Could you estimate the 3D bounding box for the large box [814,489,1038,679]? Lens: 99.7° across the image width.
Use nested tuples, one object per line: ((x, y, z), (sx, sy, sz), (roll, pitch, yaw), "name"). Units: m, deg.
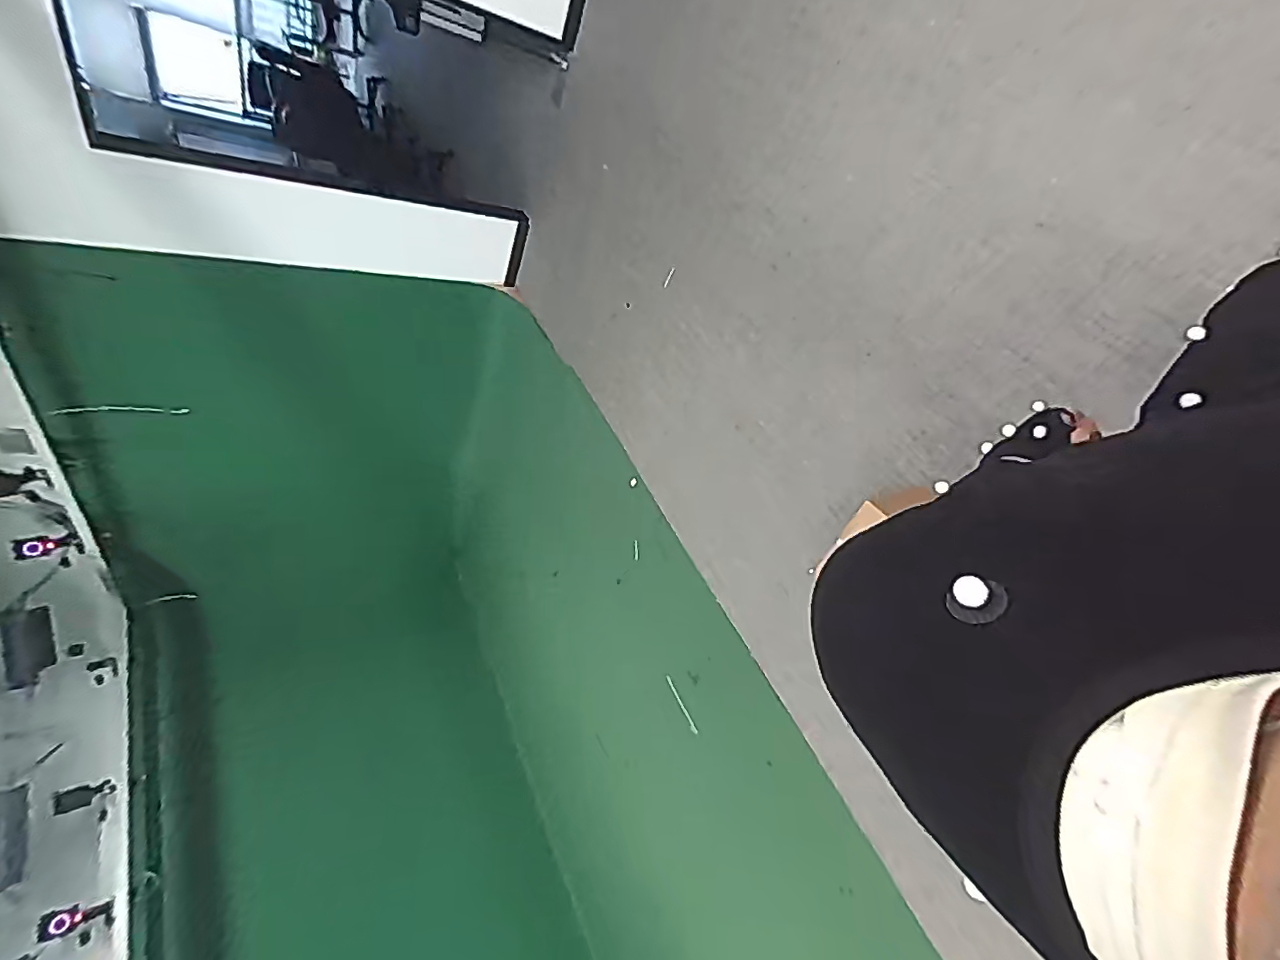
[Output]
((0.803, 0.279, 1.553), (0.408, 0.320, 0.320), (52, 134, 36), "large box")
